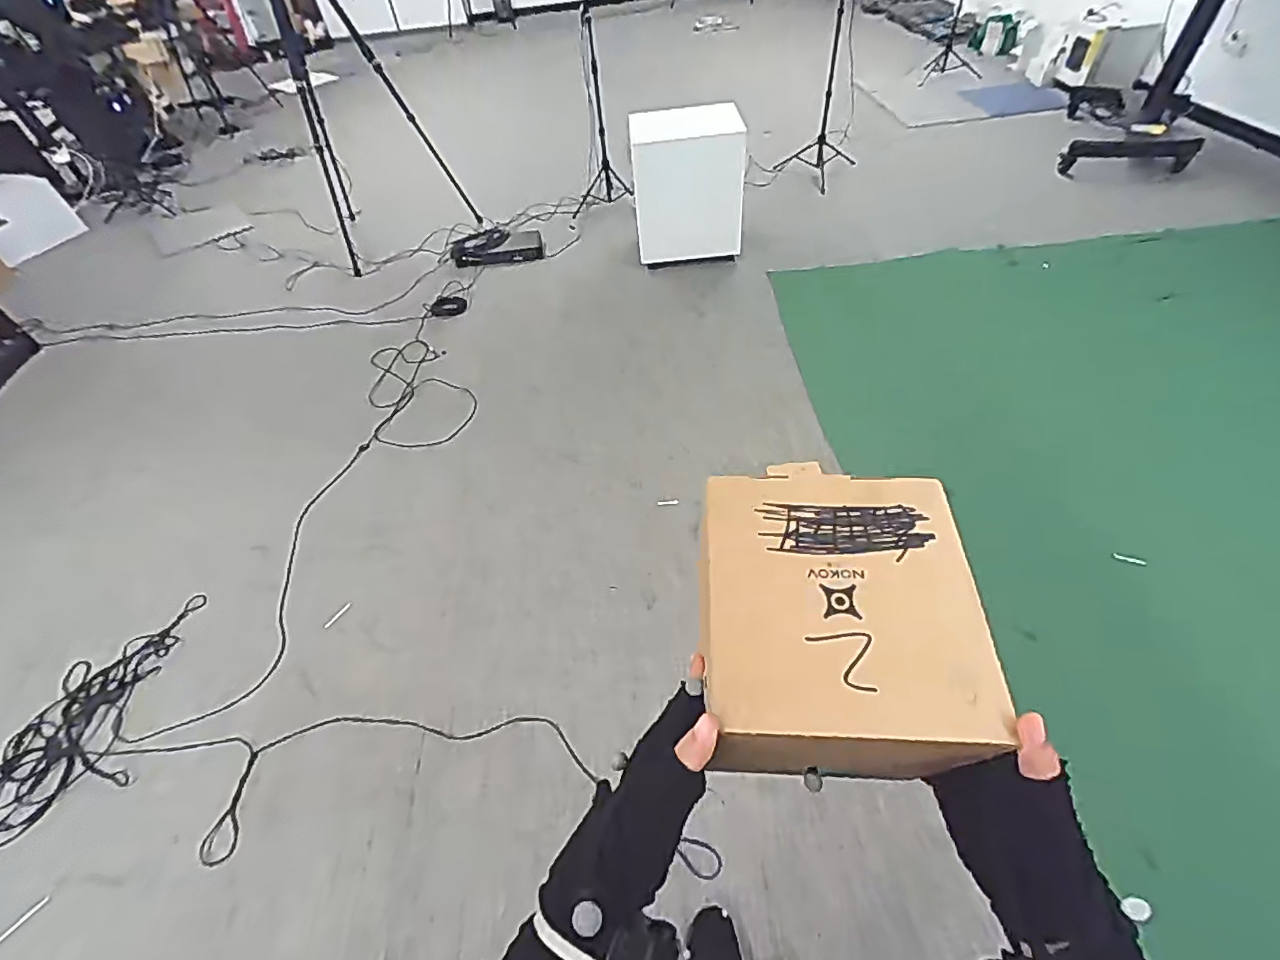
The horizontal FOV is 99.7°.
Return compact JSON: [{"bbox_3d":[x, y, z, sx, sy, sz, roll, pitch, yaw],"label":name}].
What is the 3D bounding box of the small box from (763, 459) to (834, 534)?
[{"bbox_3d":[0.490,0.058,1.696,0.168,0.176,0.179,-5,51,0],"label":"small box"}]
